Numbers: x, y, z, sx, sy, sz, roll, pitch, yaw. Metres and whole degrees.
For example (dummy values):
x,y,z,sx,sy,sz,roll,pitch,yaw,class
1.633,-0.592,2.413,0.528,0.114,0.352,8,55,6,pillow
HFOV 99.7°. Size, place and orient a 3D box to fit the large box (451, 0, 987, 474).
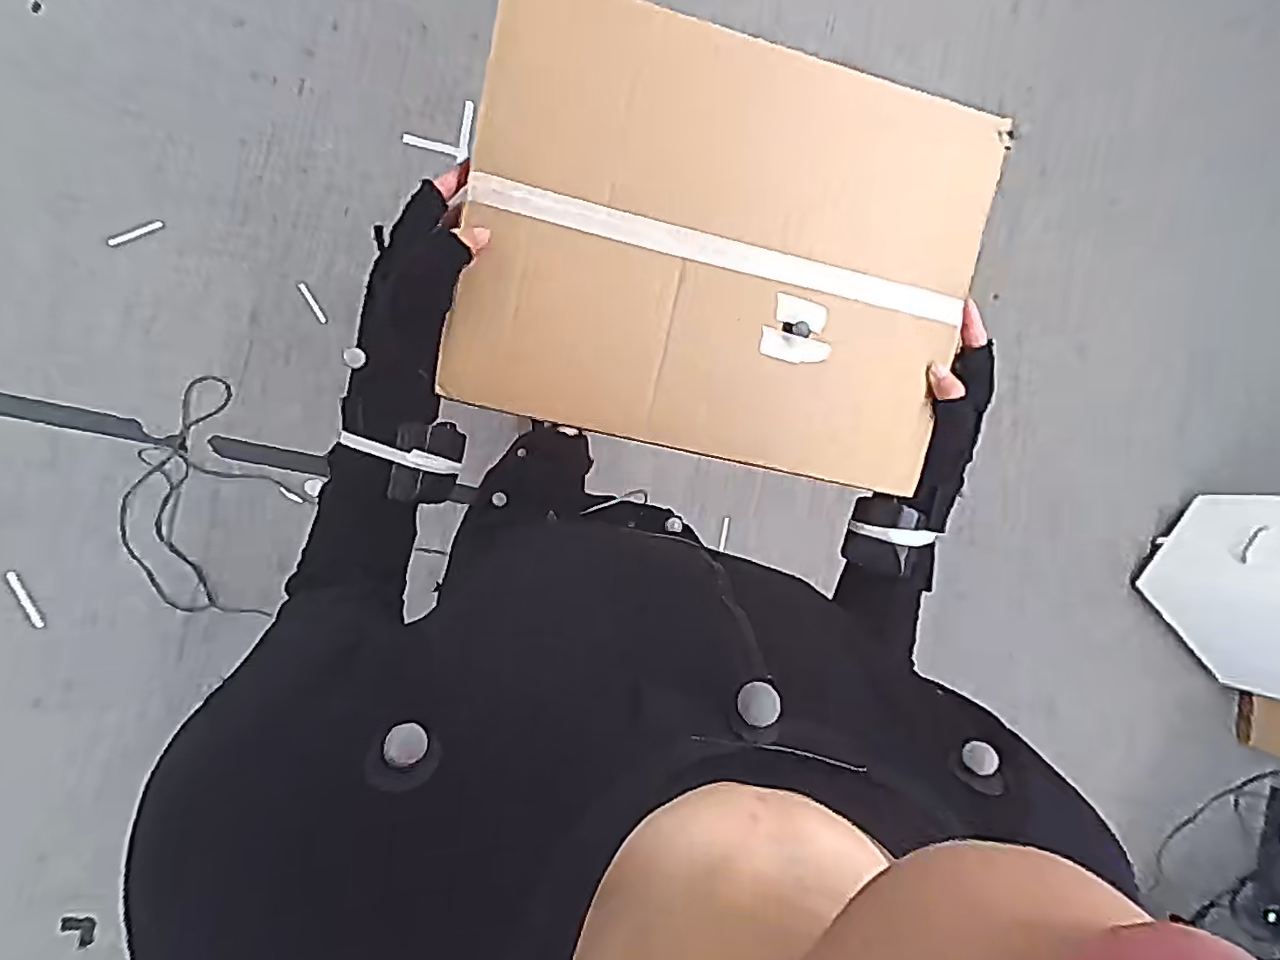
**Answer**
x,y,z,sx,sy,sz,roll,pitch,yaw,class
0.051,-0.207,0.586,0.408,0.320,0.320,11,97,-8,large box
